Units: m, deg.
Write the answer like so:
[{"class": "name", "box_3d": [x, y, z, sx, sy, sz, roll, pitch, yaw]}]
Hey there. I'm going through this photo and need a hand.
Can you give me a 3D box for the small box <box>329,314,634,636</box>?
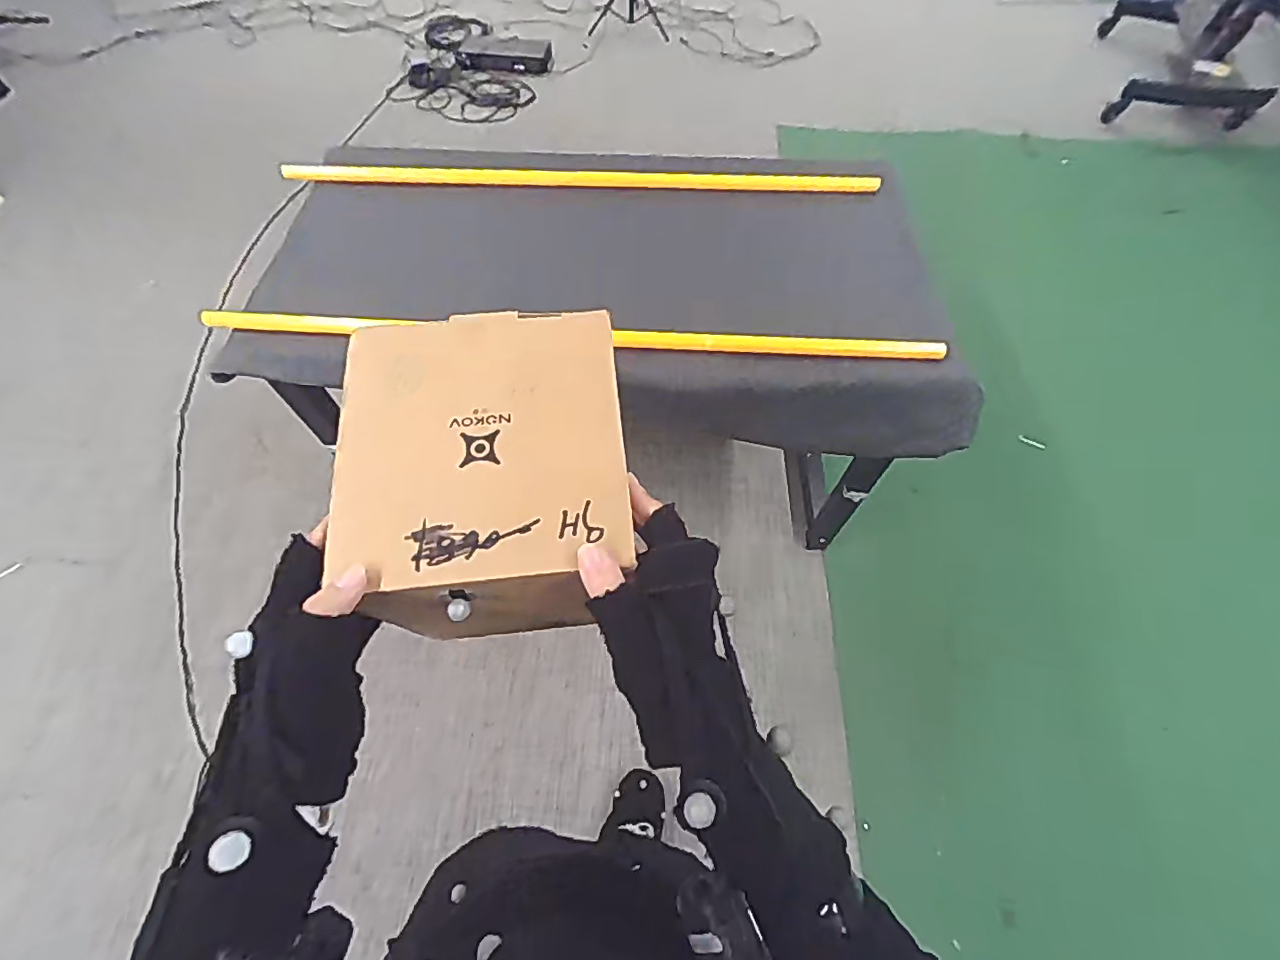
[{"class": "small box", "box_3d": [-0.095, 0.005, 0.400, 0.168, 0.176, 0.179, -6, 65, -3]}]
